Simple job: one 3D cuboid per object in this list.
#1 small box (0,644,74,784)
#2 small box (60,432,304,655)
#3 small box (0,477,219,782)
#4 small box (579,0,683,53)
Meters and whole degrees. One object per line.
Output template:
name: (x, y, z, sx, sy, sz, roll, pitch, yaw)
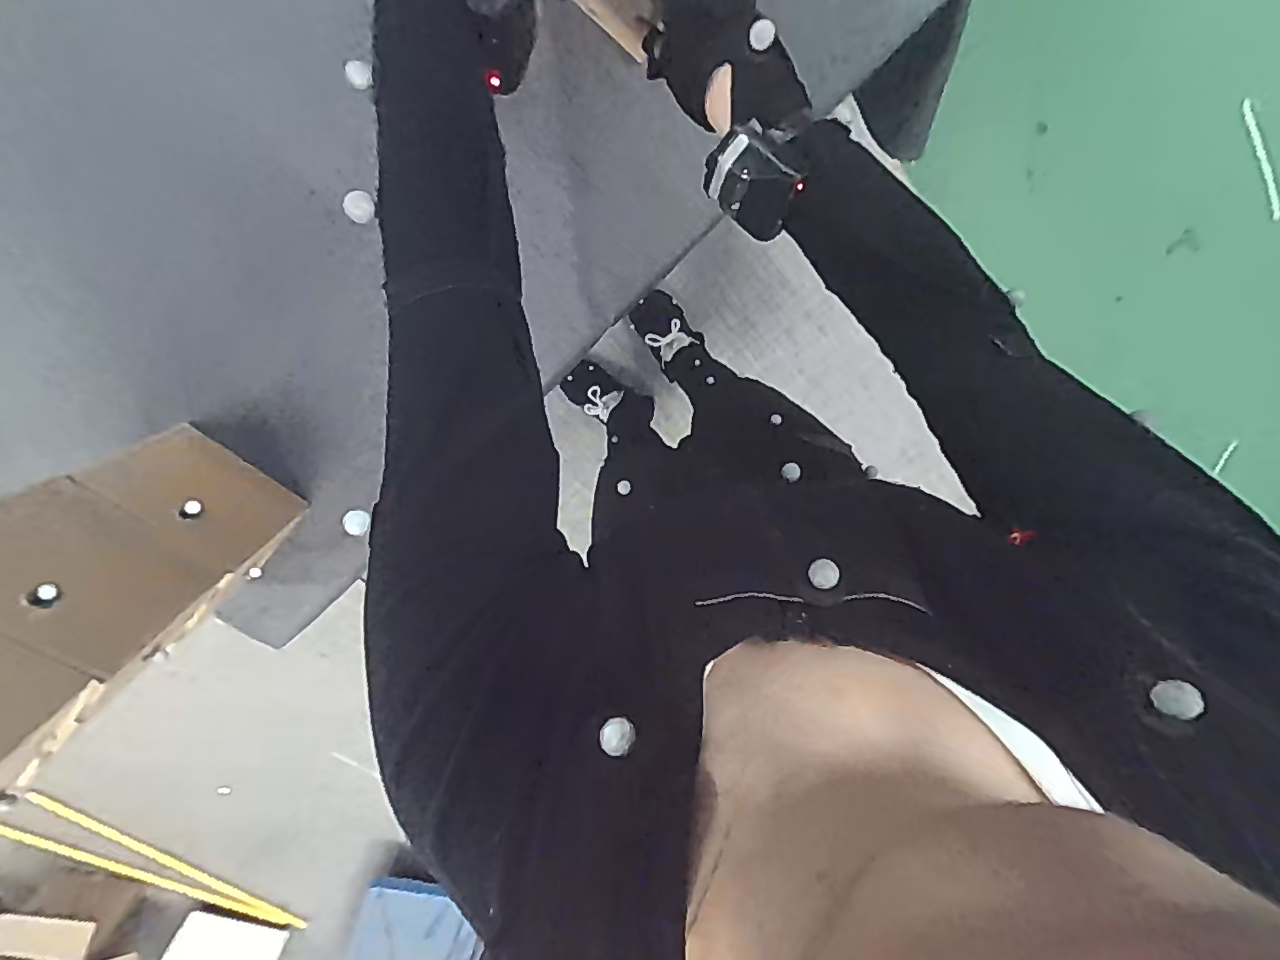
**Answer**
small box: (-0.547, 0.190, 0.347, 0.179, 0.176, 0.168, 41, 105, -19)
small box: (-0.559, 0.063, 0.647, 0.179, 0.176, 0.168, 42, 106, -19)
small box: (-0.551, 0.127, 0.498, 0.168, 0.176, 0.179, -43, 110, 14)
small box: (-0.004, -0.490, 0.416, 0.168, 0.176, 0.179, 34, 109, -17)
